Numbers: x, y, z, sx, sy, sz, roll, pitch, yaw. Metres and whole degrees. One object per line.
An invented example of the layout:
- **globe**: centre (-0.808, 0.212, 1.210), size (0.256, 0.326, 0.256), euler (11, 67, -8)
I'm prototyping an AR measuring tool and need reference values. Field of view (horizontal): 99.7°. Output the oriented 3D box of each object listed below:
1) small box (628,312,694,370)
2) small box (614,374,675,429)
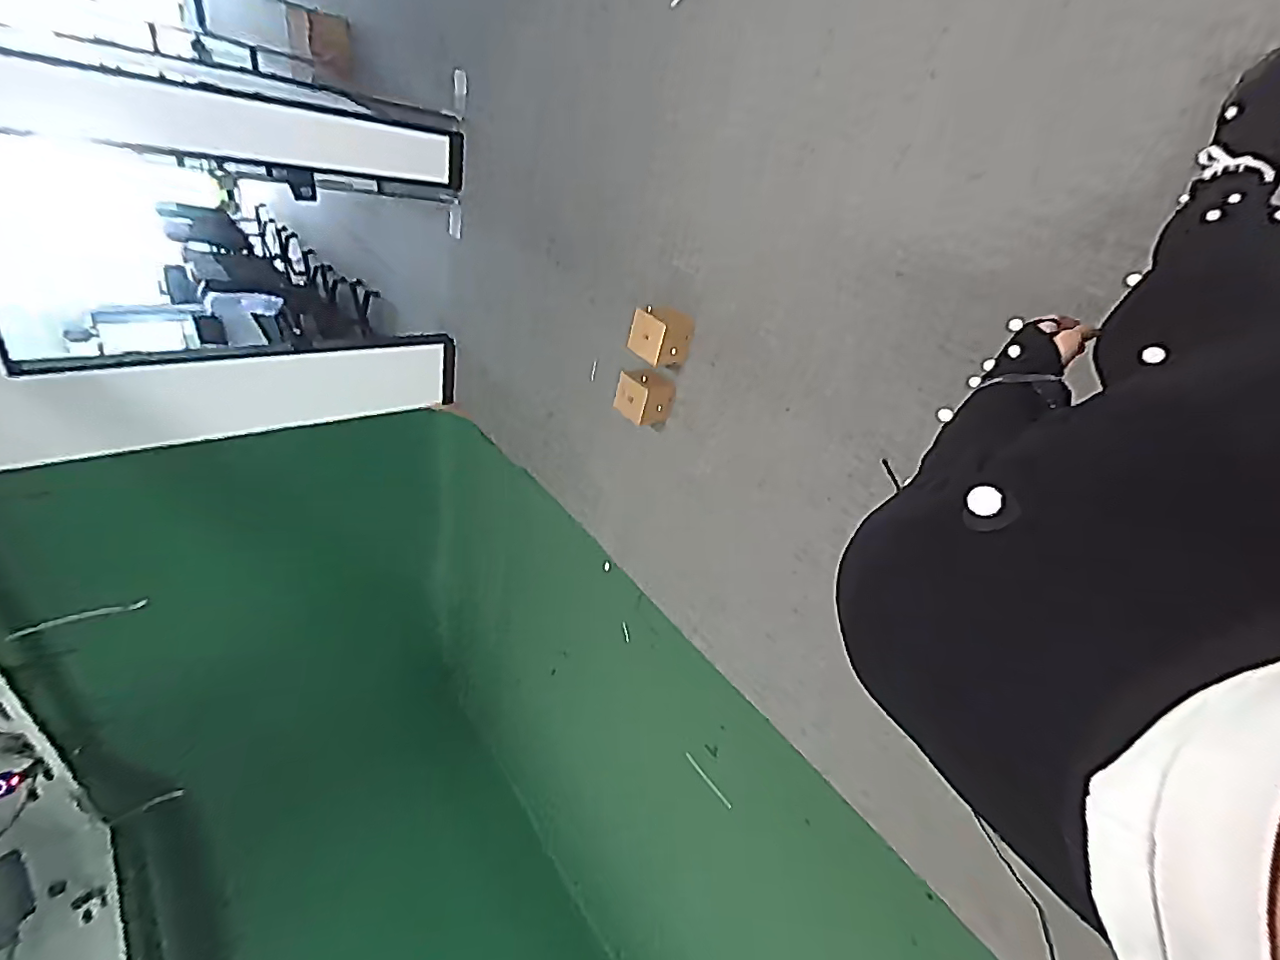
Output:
- **small box**: centre (0.085, -0.555, 2.128), size (0.179, 0.176, 0.168), euler (41, 131, 33)
- **small box**: centre (0.022, -0.337, 2.270), size (0.179, 0.176, 0.168), euler (41, 130, 32)
